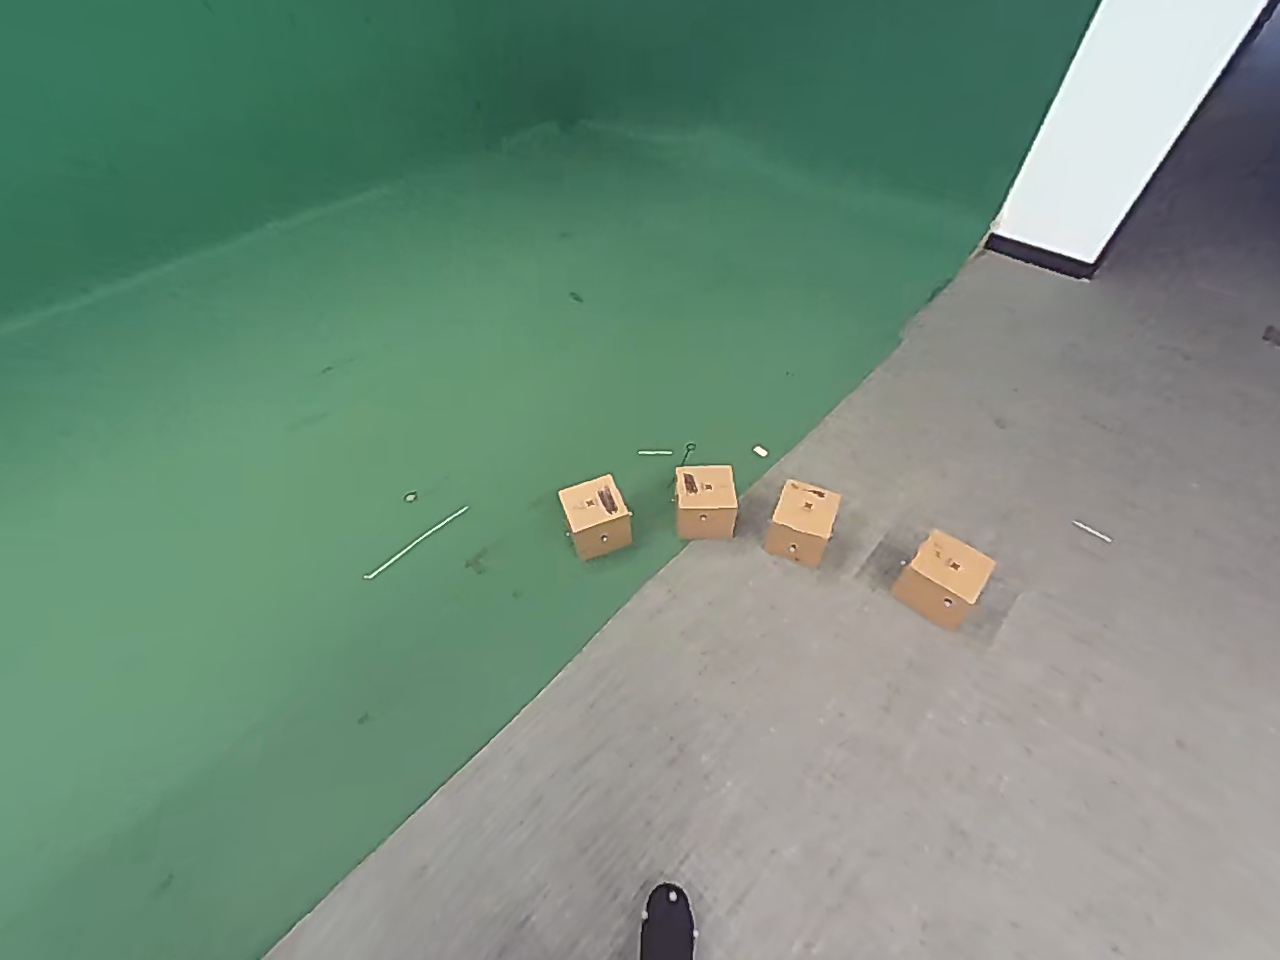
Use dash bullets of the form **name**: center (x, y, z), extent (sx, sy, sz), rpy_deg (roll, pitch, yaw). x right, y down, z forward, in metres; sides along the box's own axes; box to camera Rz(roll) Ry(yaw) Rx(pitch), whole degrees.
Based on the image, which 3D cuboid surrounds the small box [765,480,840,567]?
- **small box**: center (0.487, 0.136, 1.639), extent (0.168, 0.176, 0.179), rpy_deg (20, 56, 17)

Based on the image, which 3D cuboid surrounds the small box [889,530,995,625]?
- **small box**: center (0.834, 0.280, 1.508), extent (0.179, 0.176, 0.168), rpy_deg (35, 60, 25)

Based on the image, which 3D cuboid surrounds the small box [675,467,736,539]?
- **small box**: center (0.200, 0.075, 1.701), extent (0.179, 0.176, 0.168), rpy_deg (-1, 51, 1)
